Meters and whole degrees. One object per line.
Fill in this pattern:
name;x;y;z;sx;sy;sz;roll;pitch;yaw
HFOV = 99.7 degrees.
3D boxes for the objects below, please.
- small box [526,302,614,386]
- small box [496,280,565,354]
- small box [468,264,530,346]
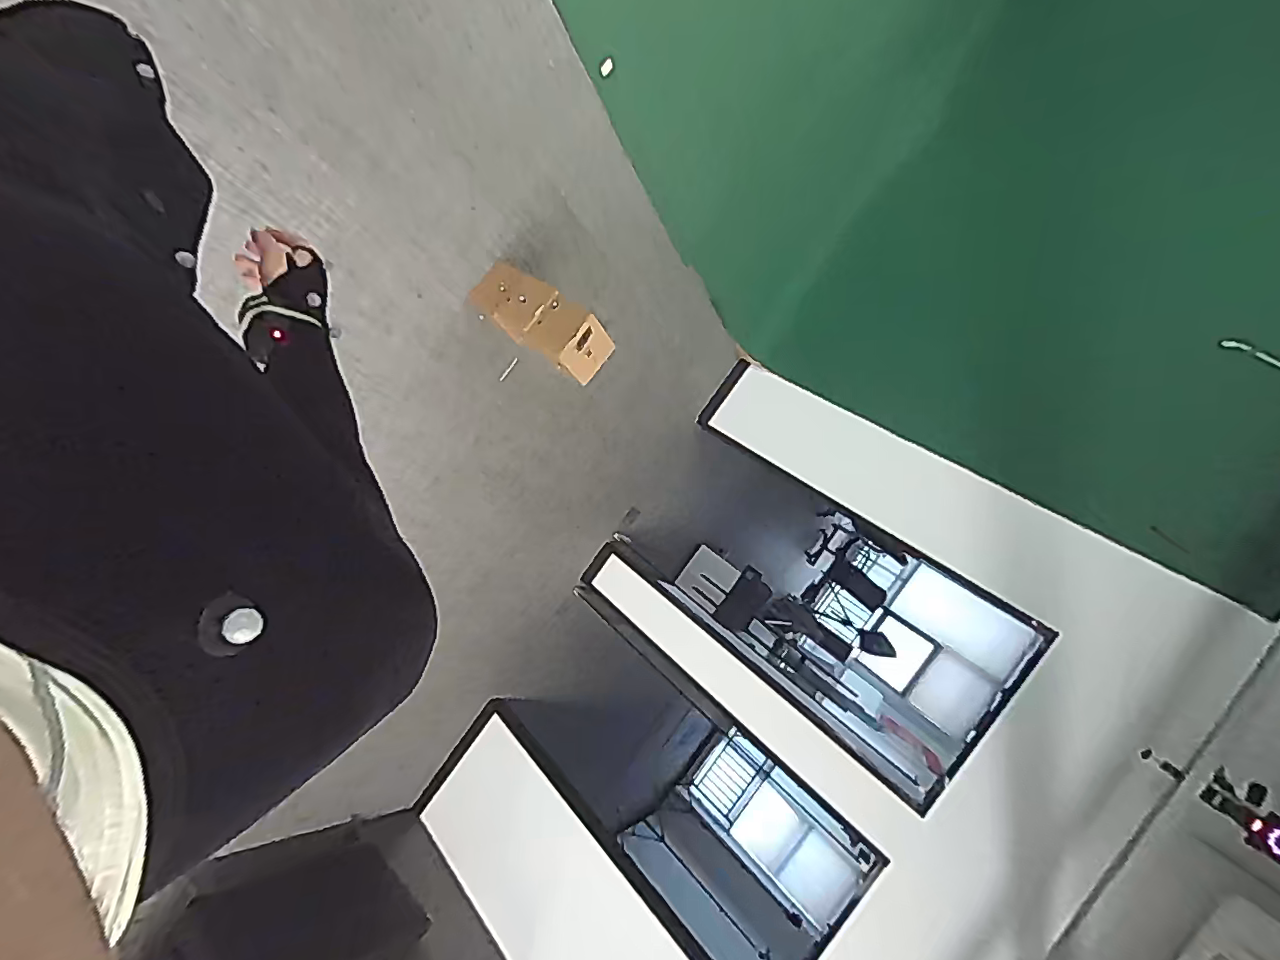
small box;-0.217;-0.426;1.670;0.168;0.176;0.179;-52;150;-4
small box;-0.330;-0.520;1.747;0.168;0.176;0.179;-51;148;-5
small box;-0.445;-0.597;1.833;0.179;0.176;0.168;-51;149;-5
